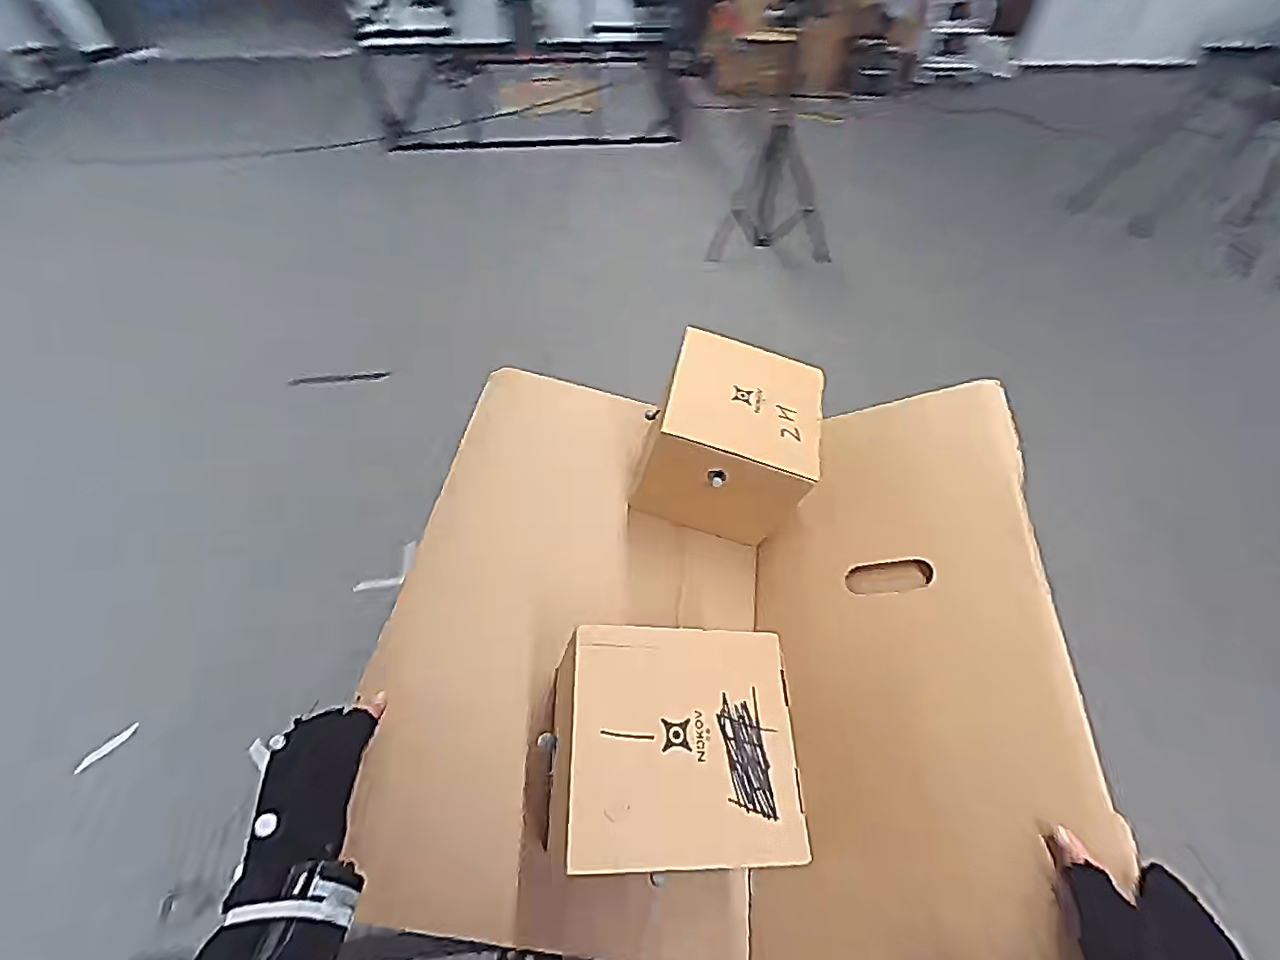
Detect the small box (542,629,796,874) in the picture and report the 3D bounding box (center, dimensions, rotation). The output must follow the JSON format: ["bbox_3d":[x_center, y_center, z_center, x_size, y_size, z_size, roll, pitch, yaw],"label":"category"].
[{"bbox_3d":[0.011,0.240,0.483,0.179,0.176,0.168,5,58,-11],"label":"small box"}]
